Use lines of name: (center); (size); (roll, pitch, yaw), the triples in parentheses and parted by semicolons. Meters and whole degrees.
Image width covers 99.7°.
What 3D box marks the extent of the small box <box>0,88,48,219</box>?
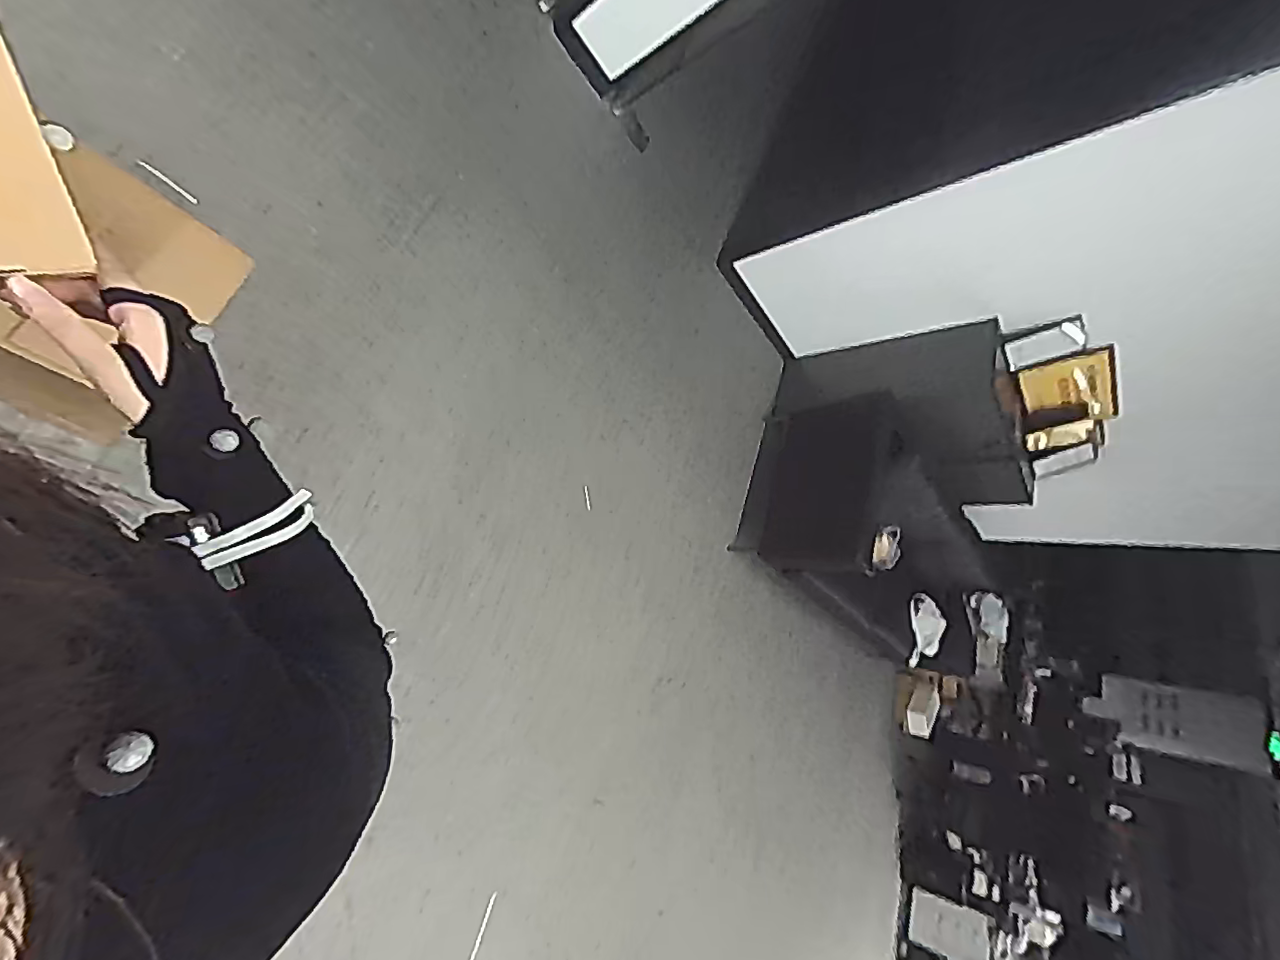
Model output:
small box: (-0.819, -0.379, 0.599); (0.168, 0.176, 0.179); (41, 61, -41)
